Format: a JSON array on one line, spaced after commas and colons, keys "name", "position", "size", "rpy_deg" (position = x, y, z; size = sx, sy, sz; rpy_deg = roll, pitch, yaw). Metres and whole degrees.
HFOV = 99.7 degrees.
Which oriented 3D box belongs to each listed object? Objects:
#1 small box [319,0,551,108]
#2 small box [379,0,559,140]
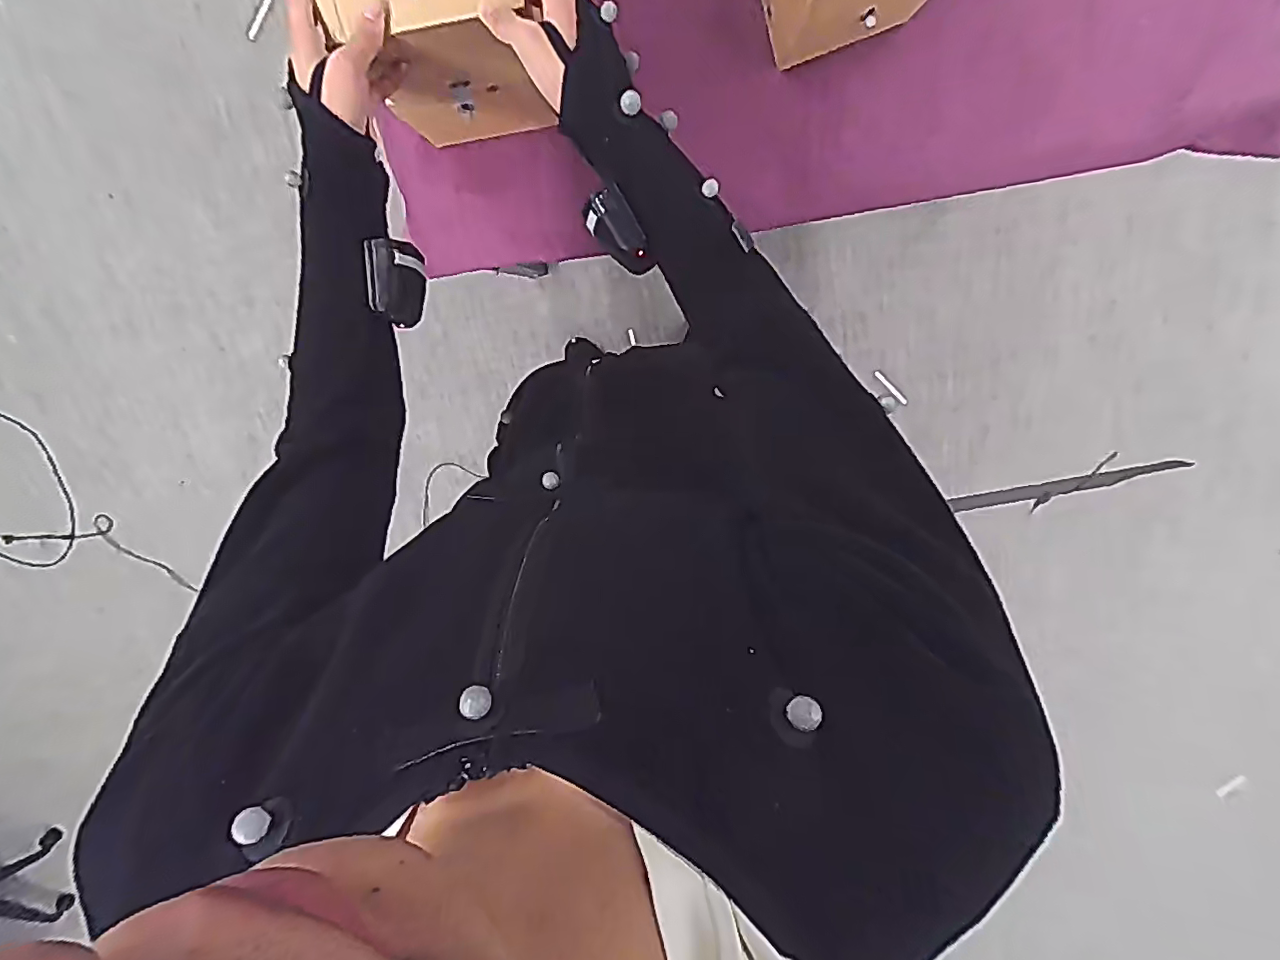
[{"name": "small box", "position": [-0.183, -0.468, 0.479], "size": [0.168, 0.176, 0.179], "rpy_deg": [-10, 110, 1]}, {"name": "small box", "position": [-0.202, -0.522, 0.633], "size": [0.179, 0.176, 0.168], "rpy_deg": [-9, 108, 1]}]
